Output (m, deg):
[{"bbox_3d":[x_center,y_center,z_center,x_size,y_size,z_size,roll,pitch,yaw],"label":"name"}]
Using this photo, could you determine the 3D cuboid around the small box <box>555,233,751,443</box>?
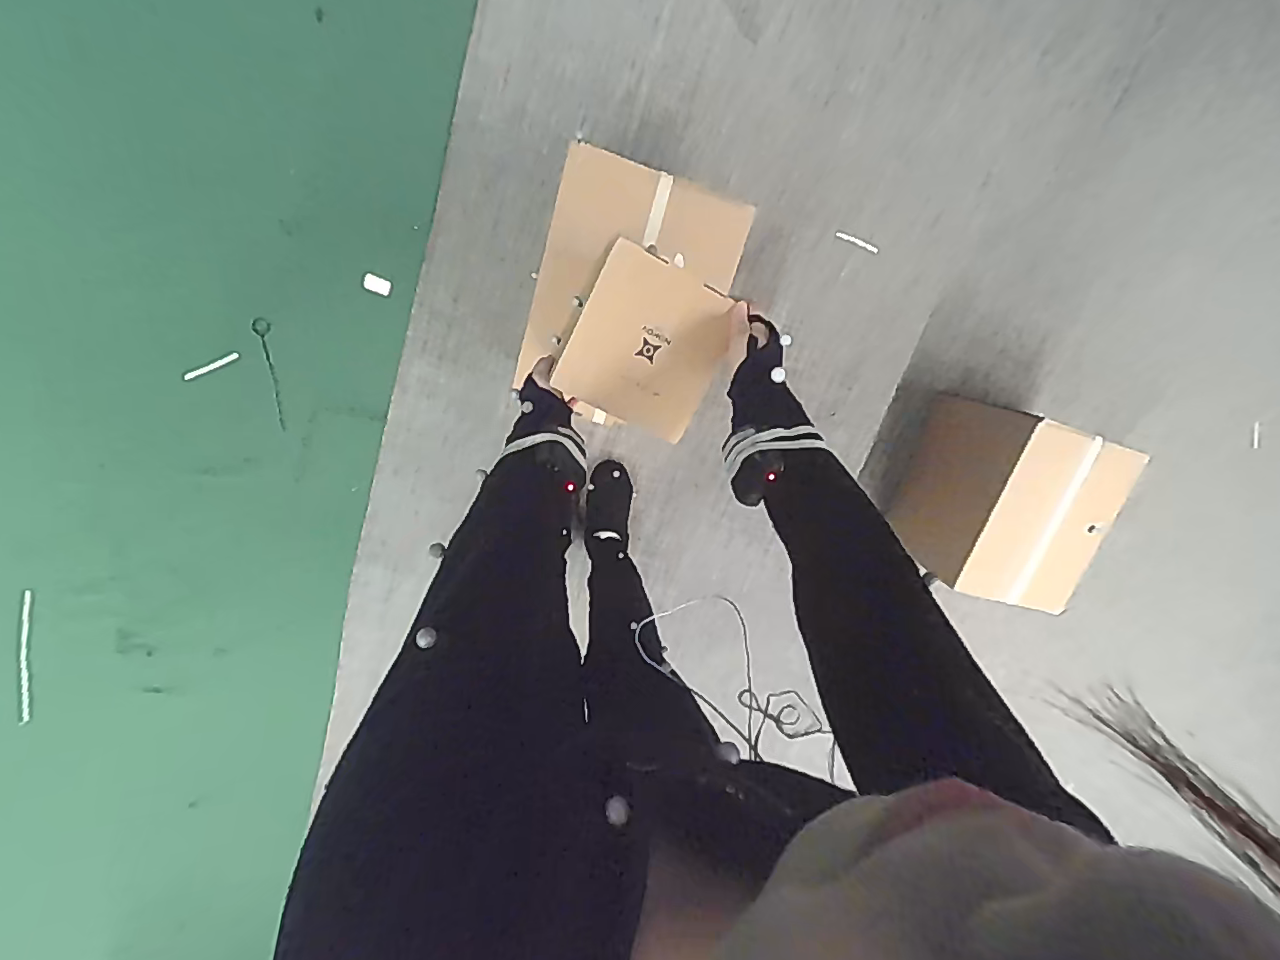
[{"bbox_3d":[0.003,-0.175,0.668,0.168,0.176,0.179,24,105,-16],"label":"small box"}]

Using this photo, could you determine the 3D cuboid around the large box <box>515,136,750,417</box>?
[{"bbox_3d":[-0.037,-0.348,1.037,0.320,0.320,0.408,13,106,-14],"label":"large box"}]
